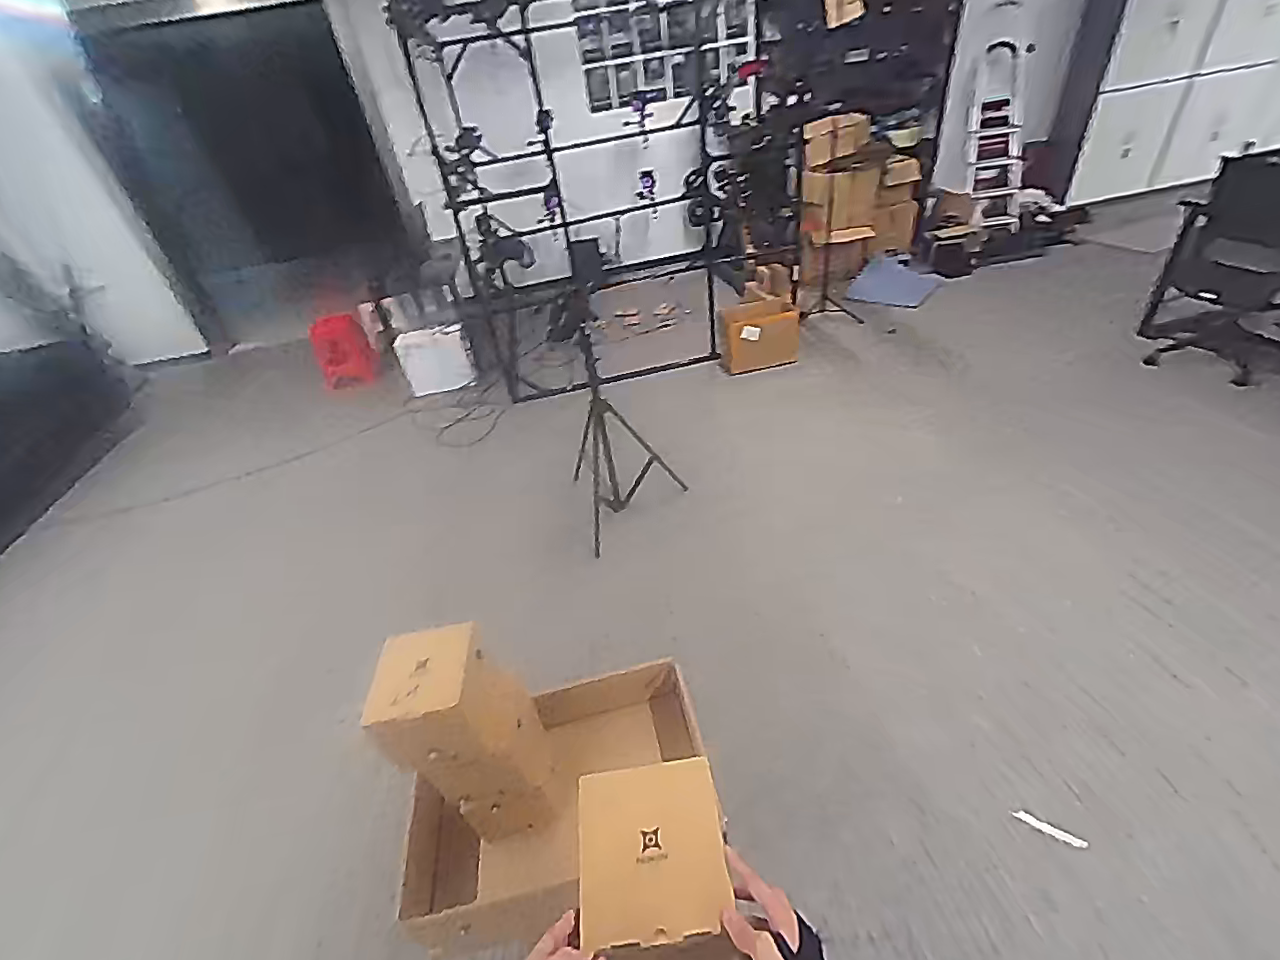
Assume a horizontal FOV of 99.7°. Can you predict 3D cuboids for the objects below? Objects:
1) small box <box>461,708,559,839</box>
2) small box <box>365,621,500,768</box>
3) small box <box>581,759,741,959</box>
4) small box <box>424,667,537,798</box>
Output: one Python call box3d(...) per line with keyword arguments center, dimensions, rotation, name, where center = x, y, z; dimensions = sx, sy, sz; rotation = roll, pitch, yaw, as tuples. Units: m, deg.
box3d(center=(-0.281, 0.641, 1.184), dimensions=(0.168, 0.176, 0.179), rotation=(-15, 37, -6), name="small box")
box3d(center=(-0.363, 0.389, 0.985), dimensions=(0.168, 0.176, 0.179), rotation=(-10, 37, 0), name="small box")
box3d(center=(0.022, 0.478, 0.662), dimensions=(0.168, 0.176, 0.179), rotation=(-9, 38, -1), name="small box")
box3d(center=(-0.310, 0.511, 1.086), dimensions=(0.168, 0.176, 0.179), rotation=(-10, 36, -1), name="small box")
